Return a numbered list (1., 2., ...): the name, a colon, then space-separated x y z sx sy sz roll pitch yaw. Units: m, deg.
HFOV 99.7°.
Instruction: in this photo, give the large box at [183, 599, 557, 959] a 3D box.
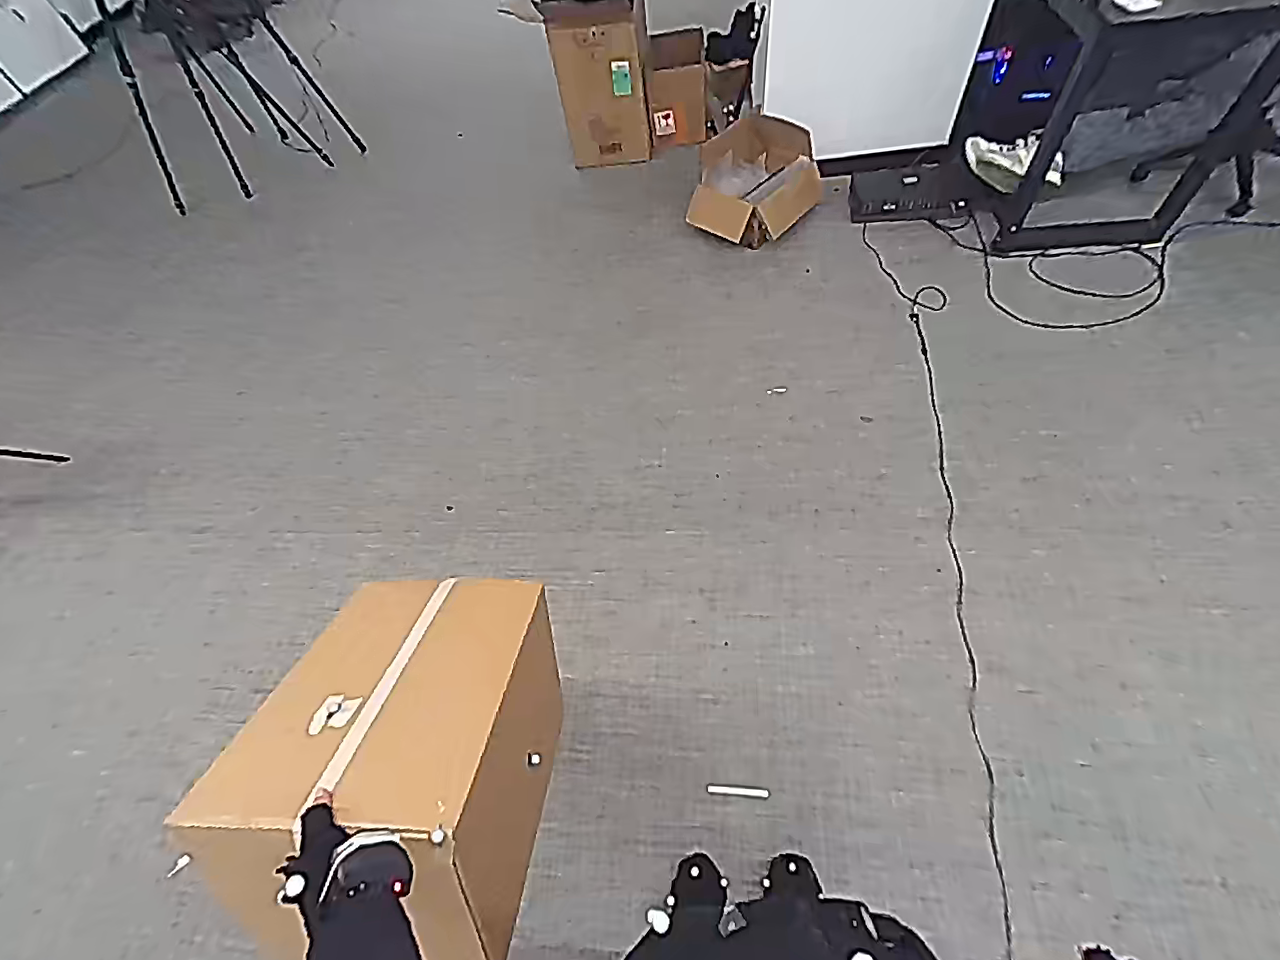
1. large box: -0.321 0.425 0.804 0.320 0.320 0.408 -2 26 5
